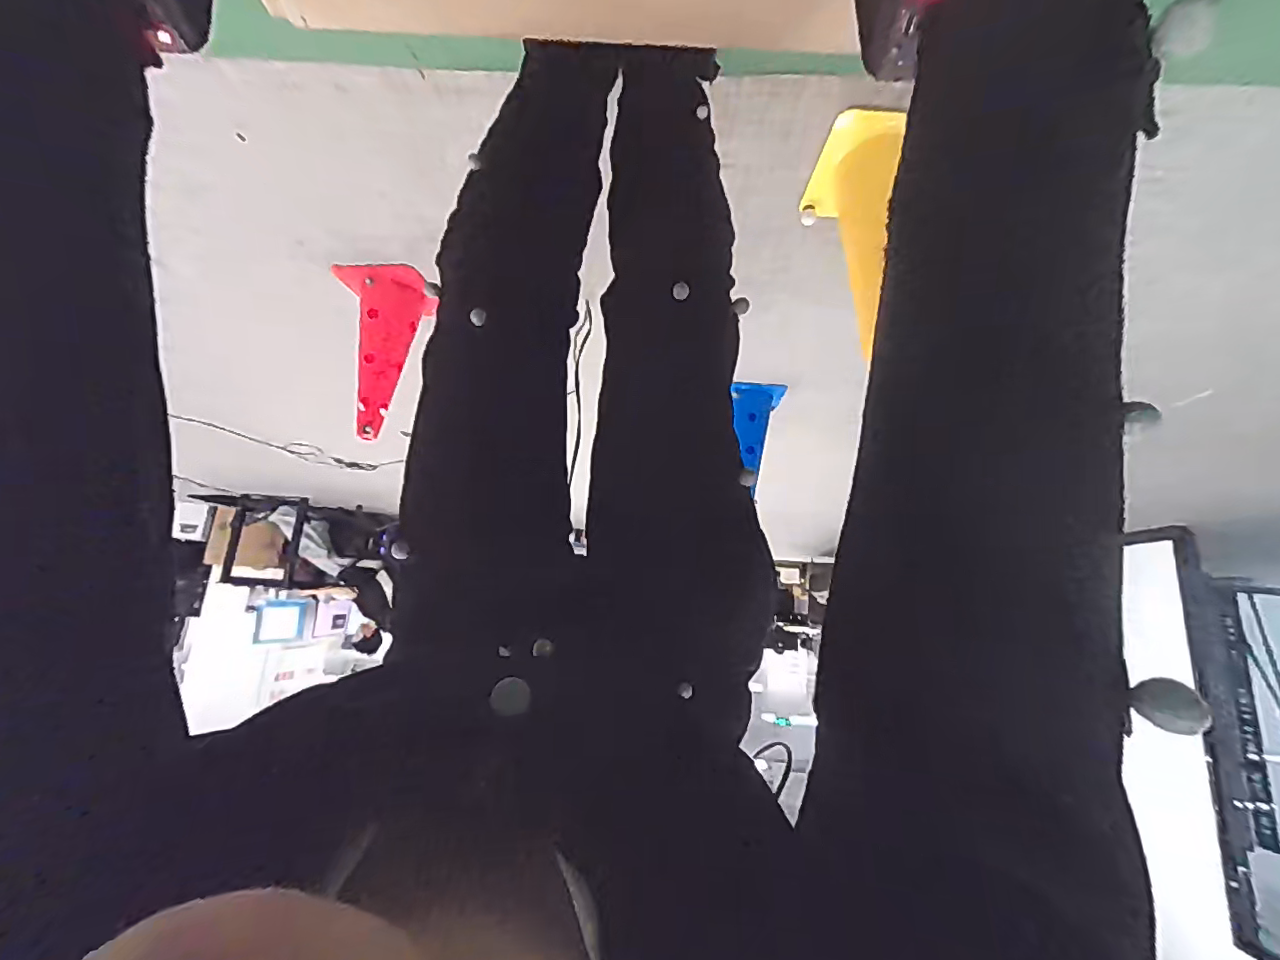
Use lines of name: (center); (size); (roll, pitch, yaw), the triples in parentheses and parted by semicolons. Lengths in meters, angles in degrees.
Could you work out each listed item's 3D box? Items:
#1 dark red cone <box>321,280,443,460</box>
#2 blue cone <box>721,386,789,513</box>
dark red cone: (-0.591, -0.233, 1.178); (0.202, 0.394, 0.201); (2, 163, 10)
blue cone: (0.337, -0.089, 1.622); (0.192, 0.380, 0.193); (4, 167, 2)
